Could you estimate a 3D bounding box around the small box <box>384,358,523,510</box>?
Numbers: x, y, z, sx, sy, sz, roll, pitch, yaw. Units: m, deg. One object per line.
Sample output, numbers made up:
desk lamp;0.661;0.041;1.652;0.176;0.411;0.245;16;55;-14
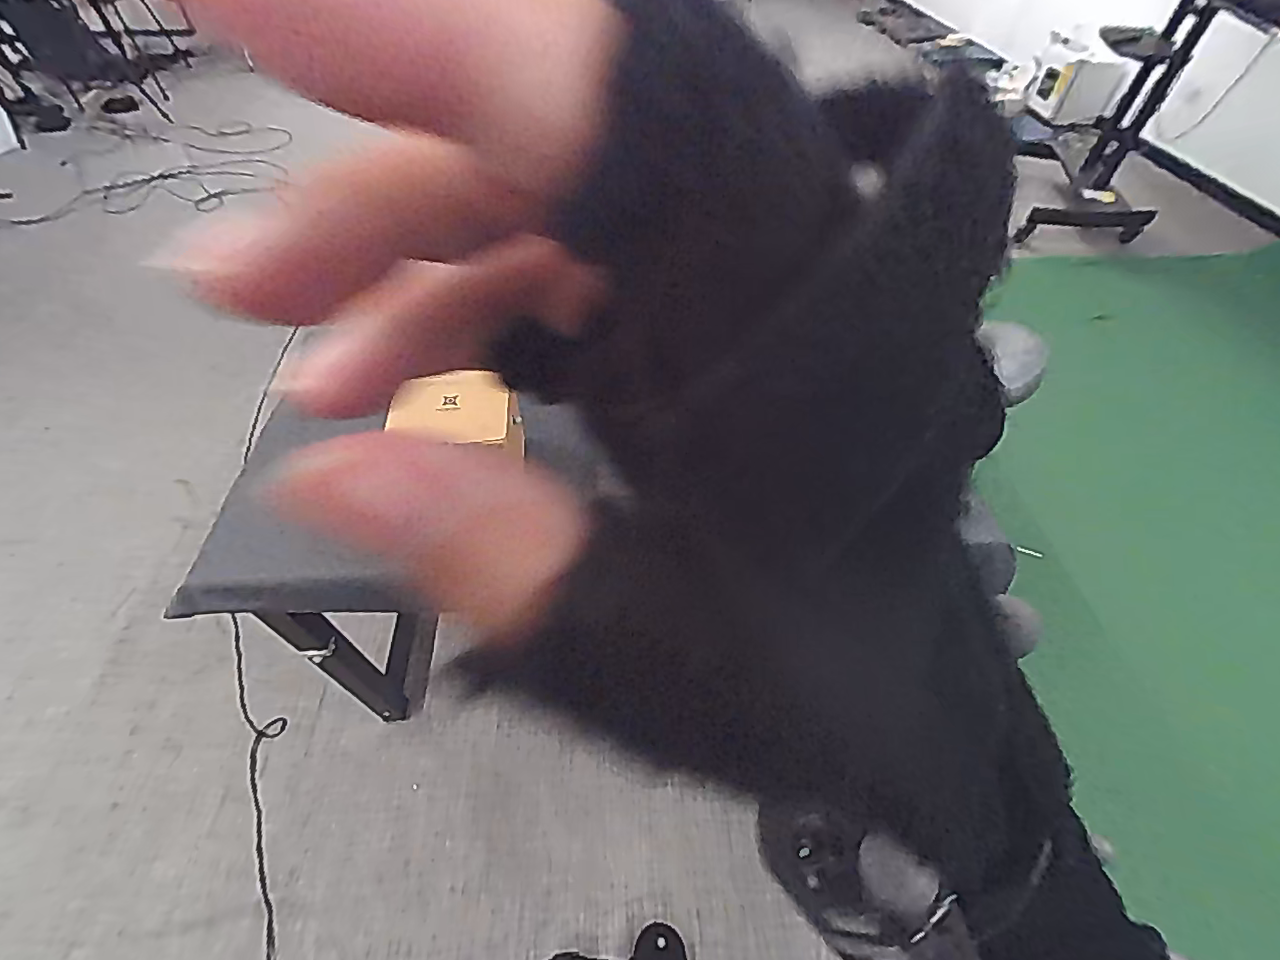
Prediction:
small box;-0.274;-0.066;0.839;0.168;0.176;0.179;-5;49;-7
